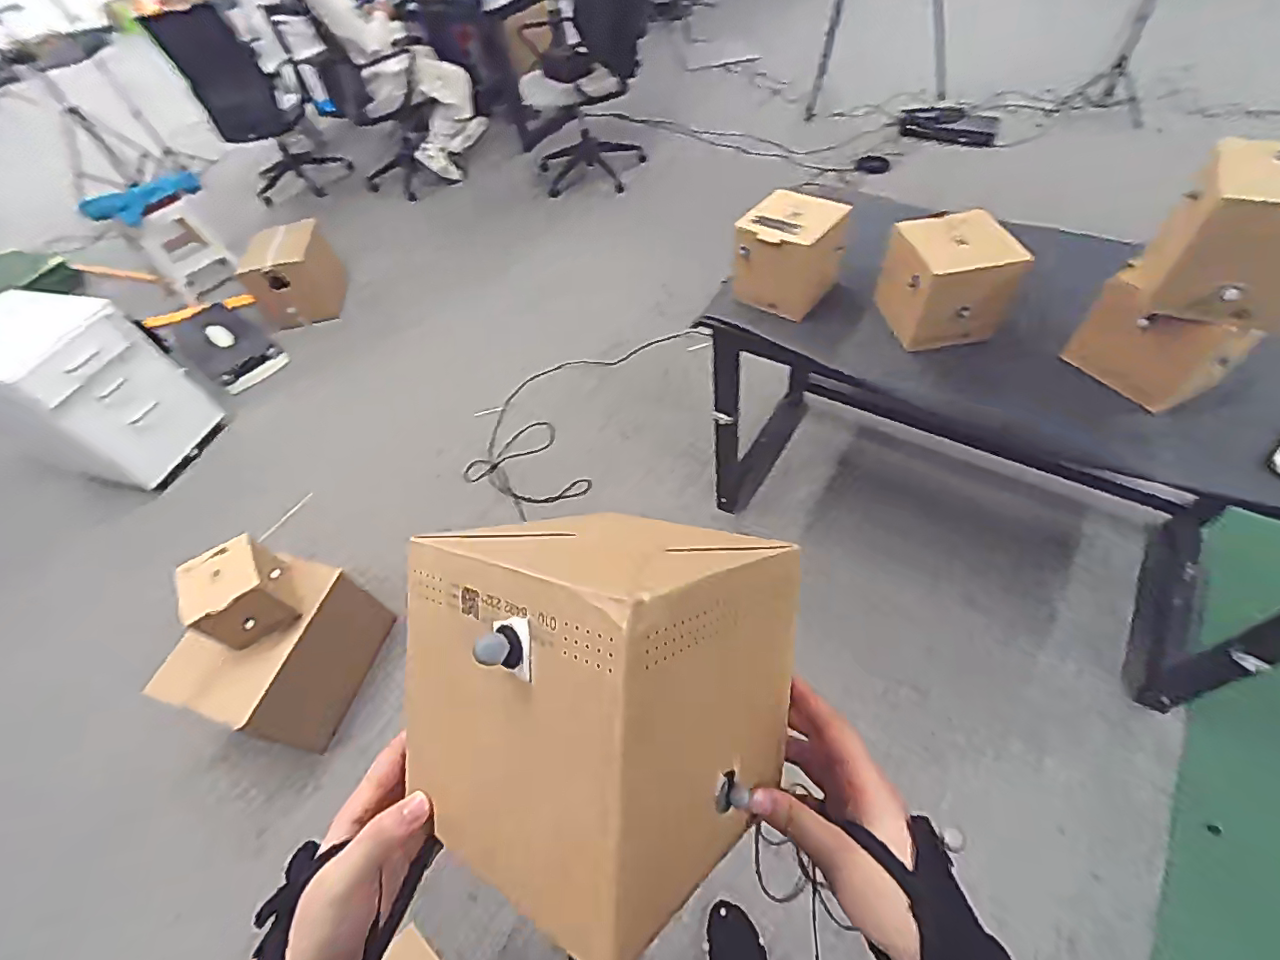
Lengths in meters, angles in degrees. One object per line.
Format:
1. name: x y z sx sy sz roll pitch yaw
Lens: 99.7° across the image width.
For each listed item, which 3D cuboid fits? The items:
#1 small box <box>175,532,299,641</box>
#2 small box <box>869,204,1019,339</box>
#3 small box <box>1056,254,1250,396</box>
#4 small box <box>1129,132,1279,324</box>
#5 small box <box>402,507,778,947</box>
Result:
1. small box: -0.958 0.263 1.298 0.168 0.176 0.179 -32 58 -15
2. small box: 0.555 -0.383 1.017 0.168 0.176 0.179 -9 52 1
3. small box: 0.846 -0.259 0.882 0.168 0.176 0.179 -25 53 -11
4. small box: 0.820 -0.346 0.744 0.168 0.176 0.179 20 59 23
5. small box: -0.025 0.110 0.339 0.168 0.179 0.176 6 95 39
